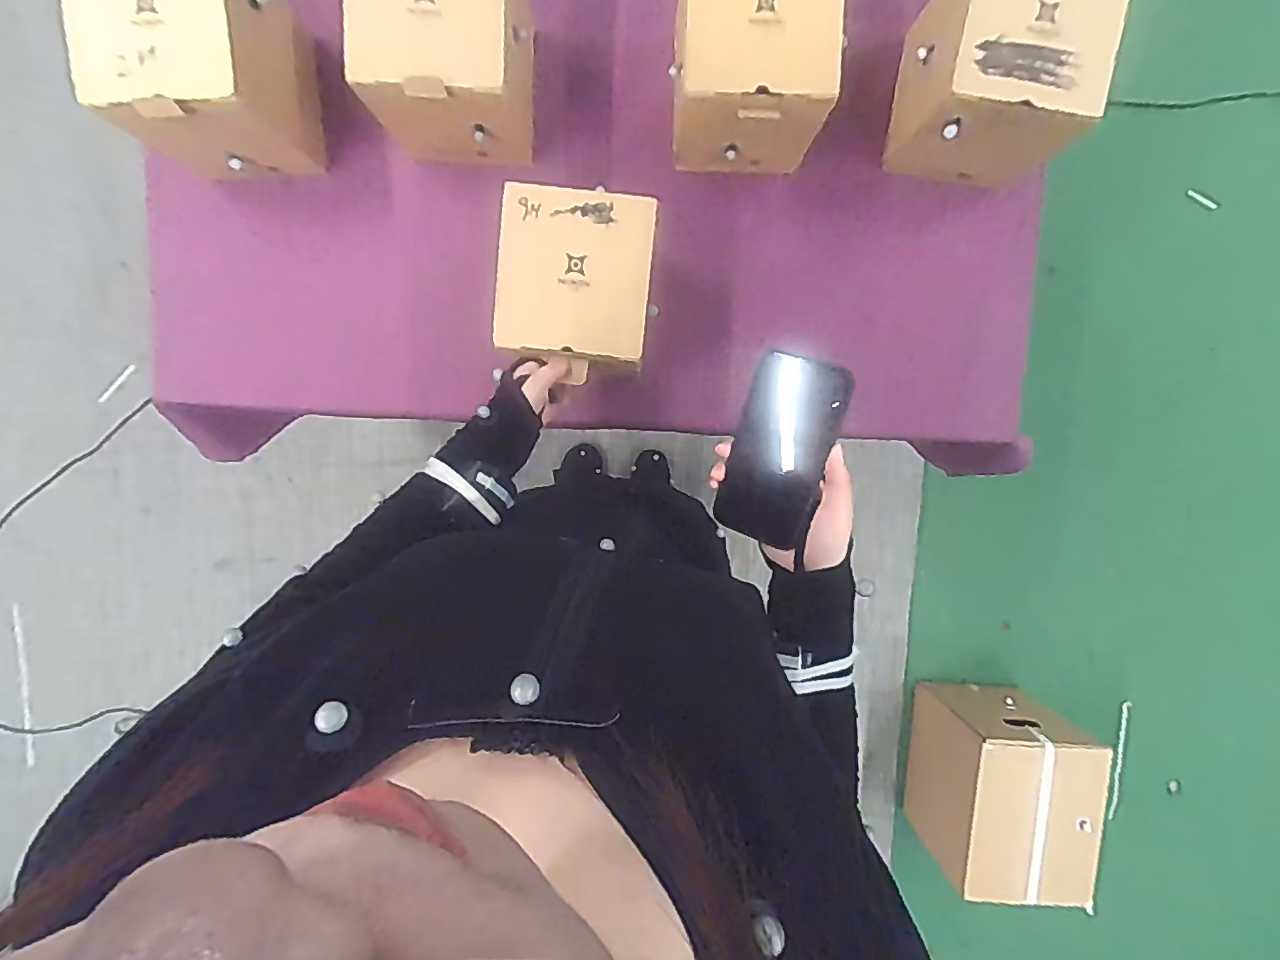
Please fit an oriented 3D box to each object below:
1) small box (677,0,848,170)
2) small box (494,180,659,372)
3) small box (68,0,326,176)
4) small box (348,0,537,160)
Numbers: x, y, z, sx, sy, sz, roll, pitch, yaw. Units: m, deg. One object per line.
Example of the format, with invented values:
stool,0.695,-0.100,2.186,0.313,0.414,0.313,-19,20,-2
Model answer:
small box,0.132,-0.498,0.637,0.168,0.176,0.179,1,96,0
small box,-0.070,-0.232,0.661,0.168,0.176,0.179,6,96,-2
small box,-0.499,-0.486,0.632,0.168,0.176,0.179,-2,96,0
small box,-0.218,-0.504,0.634,0.168,0.176,0.179,3,96,-2
